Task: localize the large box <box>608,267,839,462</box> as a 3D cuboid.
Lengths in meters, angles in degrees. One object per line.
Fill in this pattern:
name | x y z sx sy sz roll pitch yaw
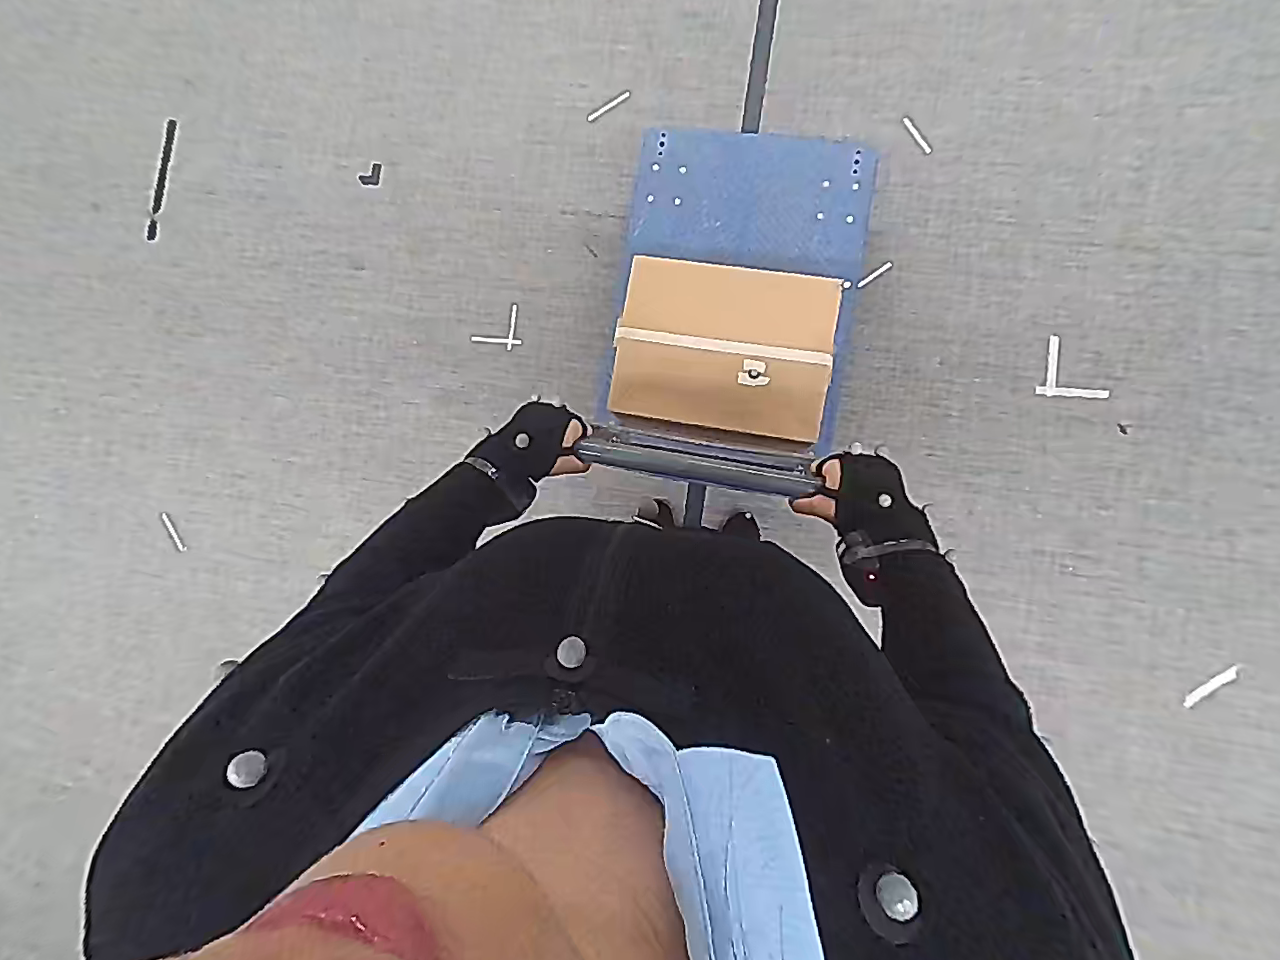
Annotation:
large box | 0.169 -0.229 1.174 0.408 0.320 0.320 10 89 7
